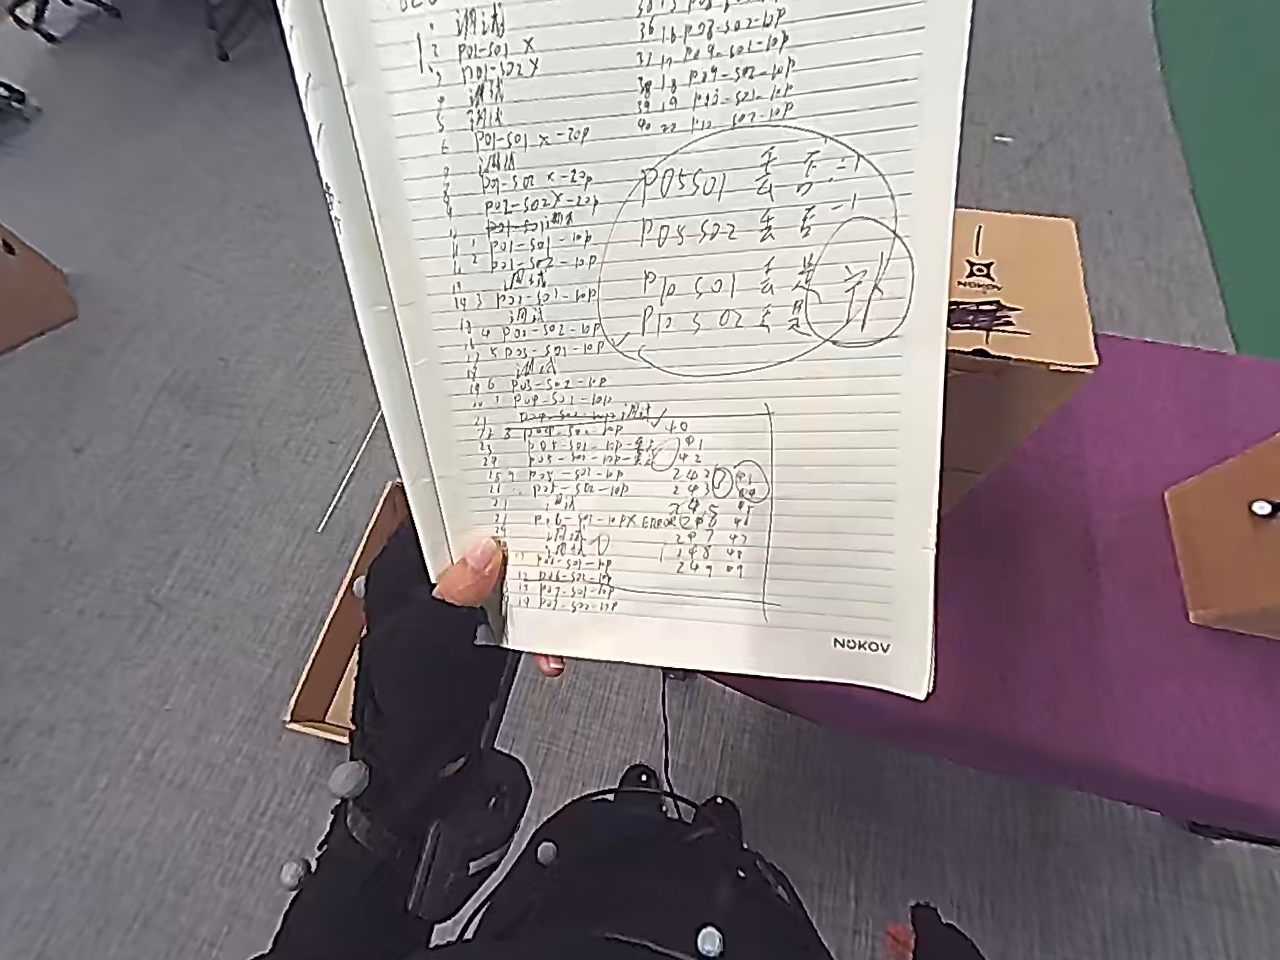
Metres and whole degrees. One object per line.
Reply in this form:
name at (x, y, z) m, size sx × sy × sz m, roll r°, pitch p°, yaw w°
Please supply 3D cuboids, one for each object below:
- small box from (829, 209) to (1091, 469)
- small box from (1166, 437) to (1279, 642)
small box at (0.293, -0.131, 0.533) m, size 0.168 × 0.176 × 0.179 m, roll 11°, pitch 63°, yaw 10°
small box at (0.732, 0.078, 0.583) m, size 0.168 × 0.176 × 0.179 m, roll 10°, pitch 65°, yaw 10°
